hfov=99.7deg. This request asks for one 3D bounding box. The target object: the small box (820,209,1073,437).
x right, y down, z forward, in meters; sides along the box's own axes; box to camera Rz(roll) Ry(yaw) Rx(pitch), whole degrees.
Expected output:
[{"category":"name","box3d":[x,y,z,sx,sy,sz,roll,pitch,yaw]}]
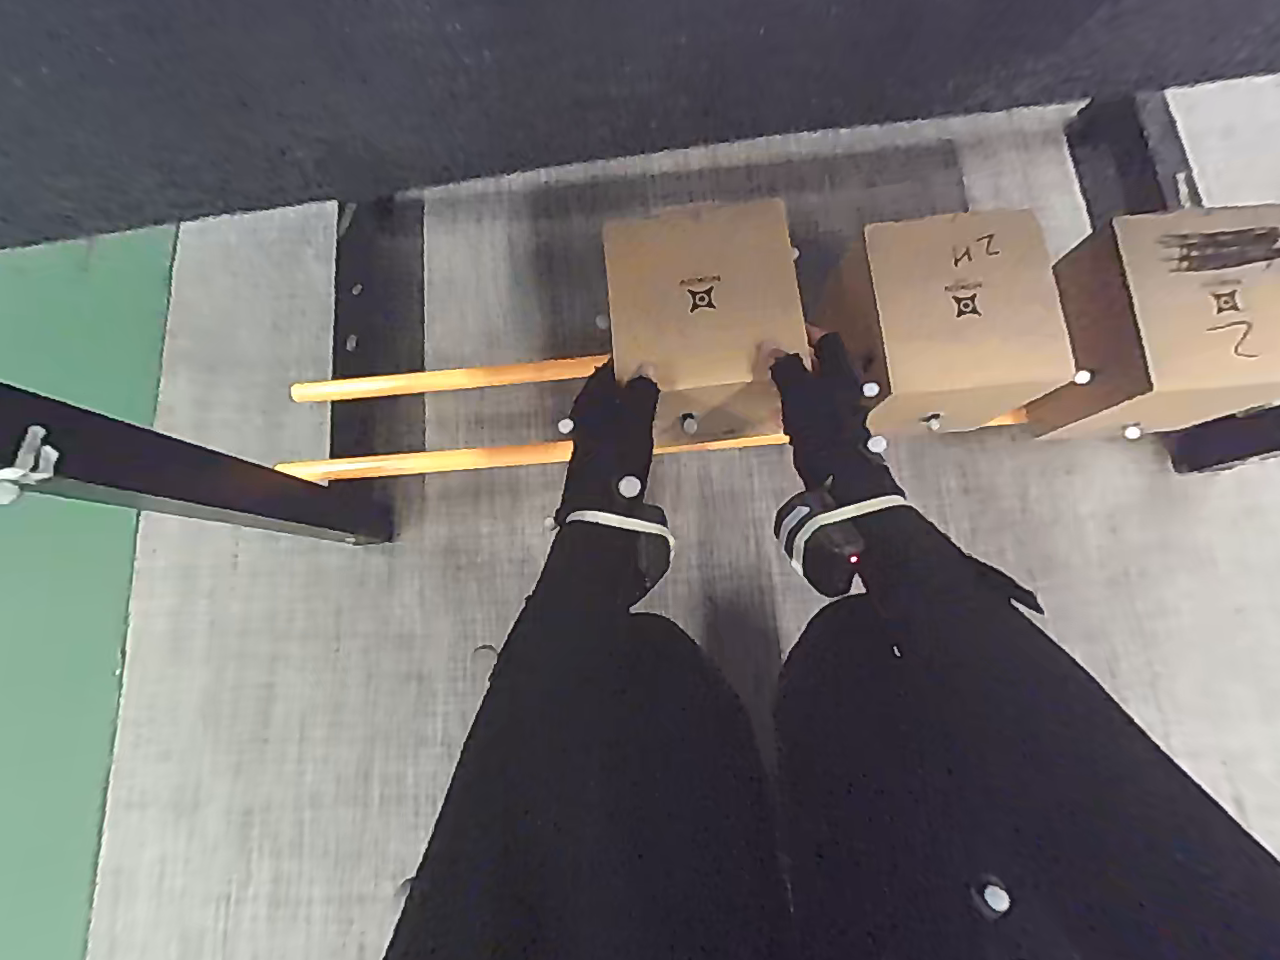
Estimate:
[{"category":"small box","box3d":[0.305,-0.151,0.579,0.168,0.176,0.179,-6,78,3]}]
